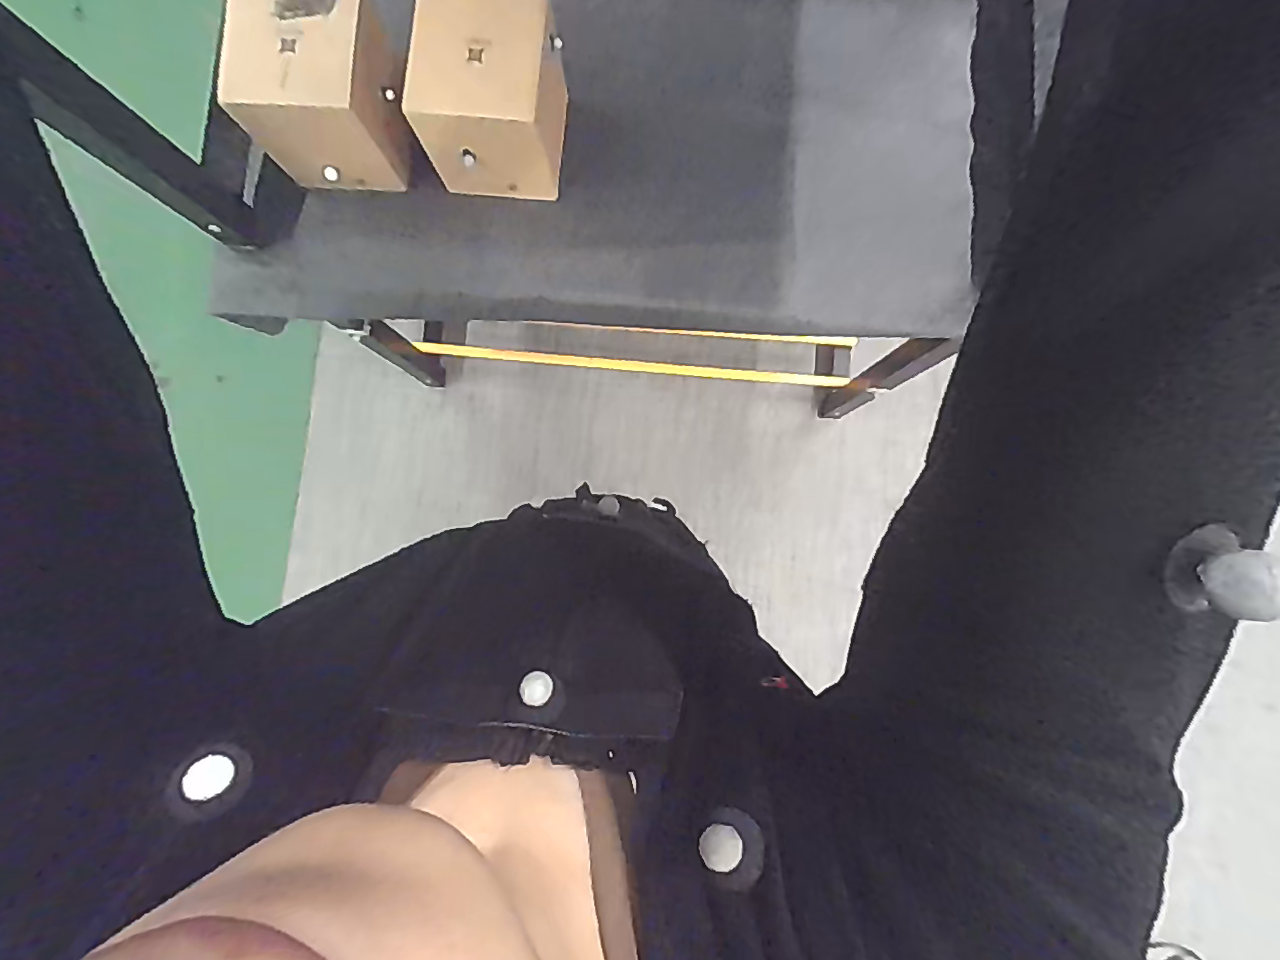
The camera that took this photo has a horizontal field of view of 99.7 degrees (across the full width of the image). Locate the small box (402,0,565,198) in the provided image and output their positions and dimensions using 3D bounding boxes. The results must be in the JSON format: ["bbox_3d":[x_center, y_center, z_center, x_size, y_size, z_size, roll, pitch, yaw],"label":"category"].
[{"bbox_3d":[-0.200,-0.517,0.740,0.168,0.176,0.179,5,84,1],"label":"small box"}]

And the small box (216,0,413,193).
[{"bbox_3d":[-0.427,-0.530,0.740,0.168,0.176,0.179,2,85,0],"label":"small box"}]
